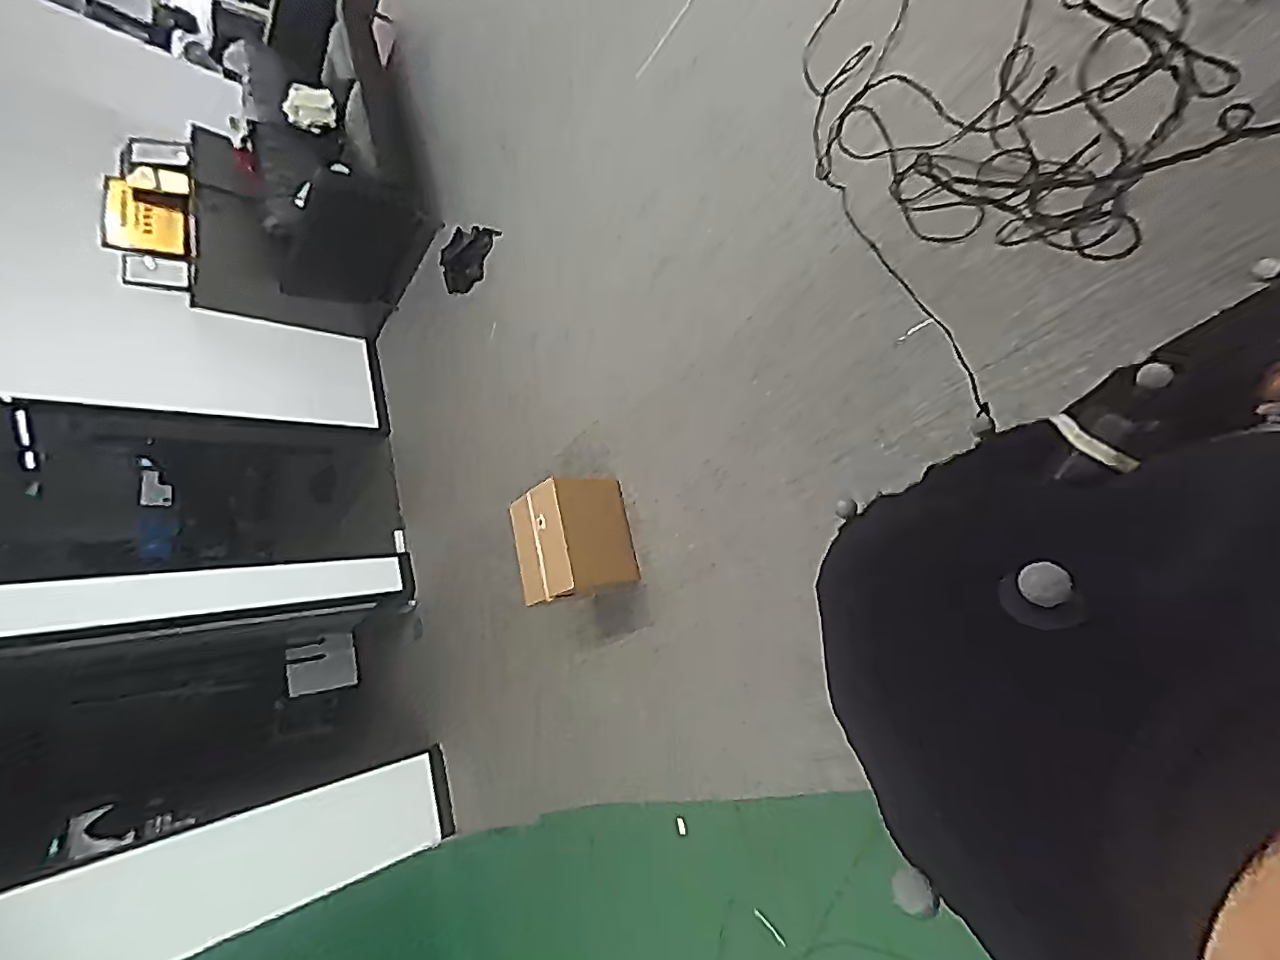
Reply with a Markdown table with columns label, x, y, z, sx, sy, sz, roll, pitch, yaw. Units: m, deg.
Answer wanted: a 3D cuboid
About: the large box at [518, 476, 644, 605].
| label | x | y | z | sx | sy | sz | roll | pitch | yaw |
| --- | --- | --- | --- | --- | --- | --- | --- | --- | --- |
| large box | -0.228 | 0.230 | 2.054 | 0.320 | 0.320 | 0.408 | -29 | 67 | 42 |
